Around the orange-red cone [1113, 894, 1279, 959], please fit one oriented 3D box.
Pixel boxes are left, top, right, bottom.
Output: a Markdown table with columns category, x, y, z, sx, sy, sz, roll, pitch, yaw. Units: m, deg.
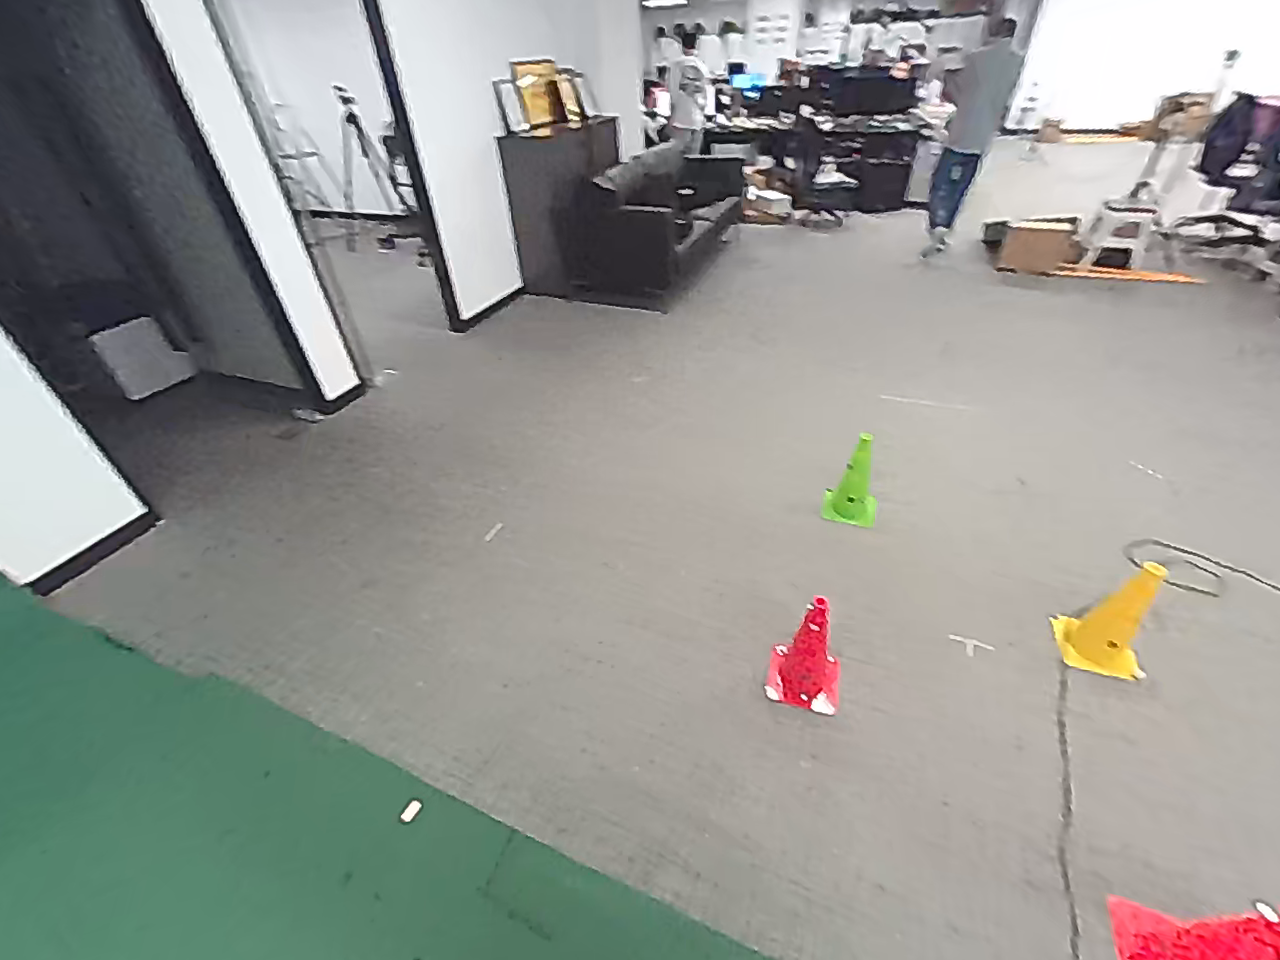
| category | x | y | z | sx | sy | sz | roll | pitch | yaw |
| --- | --- | --- | --- | --- | --- | --- | --- | --- | --- |
| orange-red cone | 1.077 | 0.845 | 0.982 | 0.198 | 0.360 | 0.199 | 13 | 40 | 19 |

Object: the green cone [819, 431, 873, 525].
| category | x | y | z | sx | sy | sz | roll | pitch | yaw |
| --- | --- | --- | --- | --- | --- | --- | --- | --- | --- |
| green cone | 0.844 | -0.029 | 2.120 | 0.202 | 0.368 | 0.200 | 12 | 41 | 18 |

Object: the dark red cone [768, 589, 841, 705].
| category | x | y | z | sx | sy | sz | roll | pitch | yaw |
| --- | --- | --- | --- | --- | --- | --- | --- | --- | --- |
| dark red cone | 0.484 | 0.441 | 1.513 | 0.202 | 0.394 | 0.201 | 9 | 41 | 16 |
